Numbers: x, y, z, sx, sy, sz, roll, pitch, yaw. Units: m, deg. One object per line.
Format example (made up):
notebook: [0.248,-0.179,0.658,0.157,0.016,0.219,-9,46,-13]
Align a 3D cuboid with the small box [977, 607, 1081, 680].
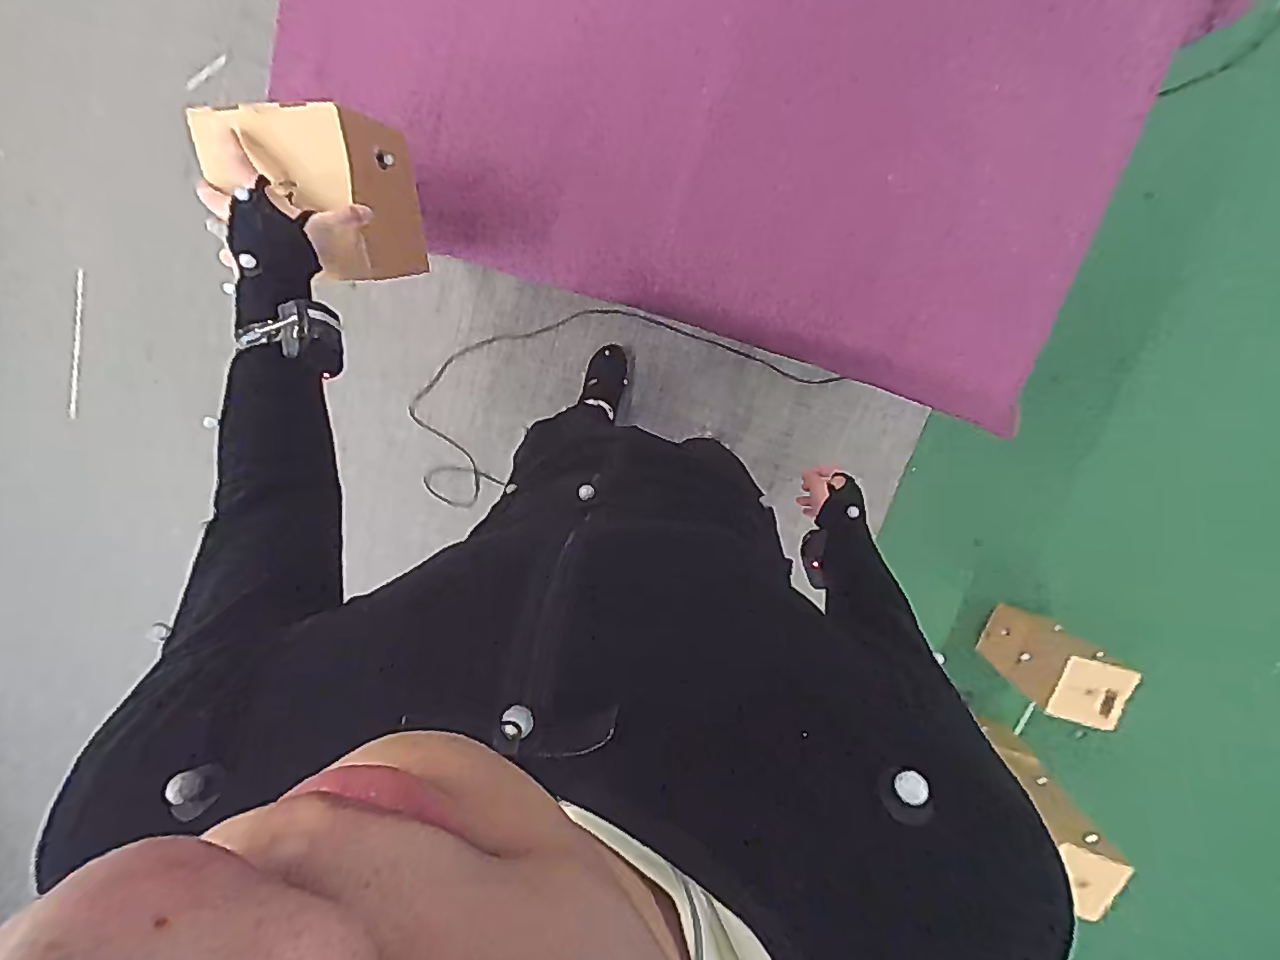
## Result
small box: [1.125,0.488,1.562,0.179,0.176,0.168,18,102,0]

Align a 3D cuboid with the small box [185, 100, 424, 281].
small box: [-0.387,-0.341,0.662,0.168,0.176,0.179,0,114,3]

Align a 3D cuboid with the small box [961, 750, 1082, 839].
small box: [1.032,0.879,1.477,0.179,0.176,0.168,21,102,0]

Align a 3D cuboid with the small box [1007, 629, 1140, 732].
small box: [1.110,0.510,1.399,0.179,0.176,0.168,16,101,1]

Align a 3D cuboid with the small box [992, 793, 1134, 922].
small box: [1.016,0.908,1.316,0.179,0.176,0.168,22,102,1]
